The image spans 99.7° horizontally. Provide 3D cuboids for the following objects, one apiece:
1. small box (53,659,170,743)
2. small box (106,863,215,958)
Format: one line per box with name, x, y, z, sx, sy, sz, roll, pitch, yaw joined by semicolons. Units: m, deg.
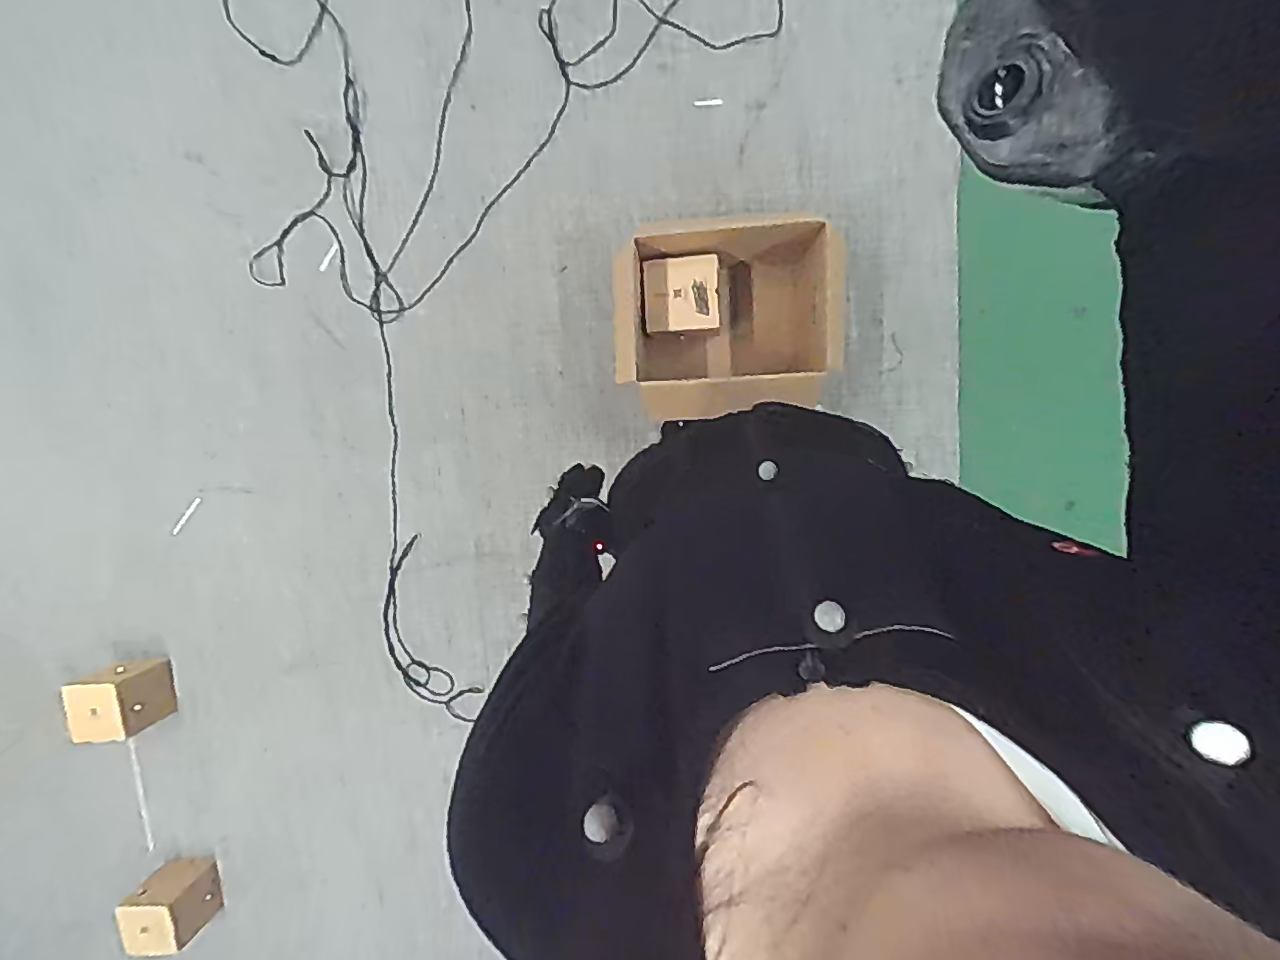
small box;-1.540;0.639;1.585;0.168;0.176;0.179;-4;97;4
small box;-1.468;1.317;1.663;0.179;0.176;0.168;-4;97;4
